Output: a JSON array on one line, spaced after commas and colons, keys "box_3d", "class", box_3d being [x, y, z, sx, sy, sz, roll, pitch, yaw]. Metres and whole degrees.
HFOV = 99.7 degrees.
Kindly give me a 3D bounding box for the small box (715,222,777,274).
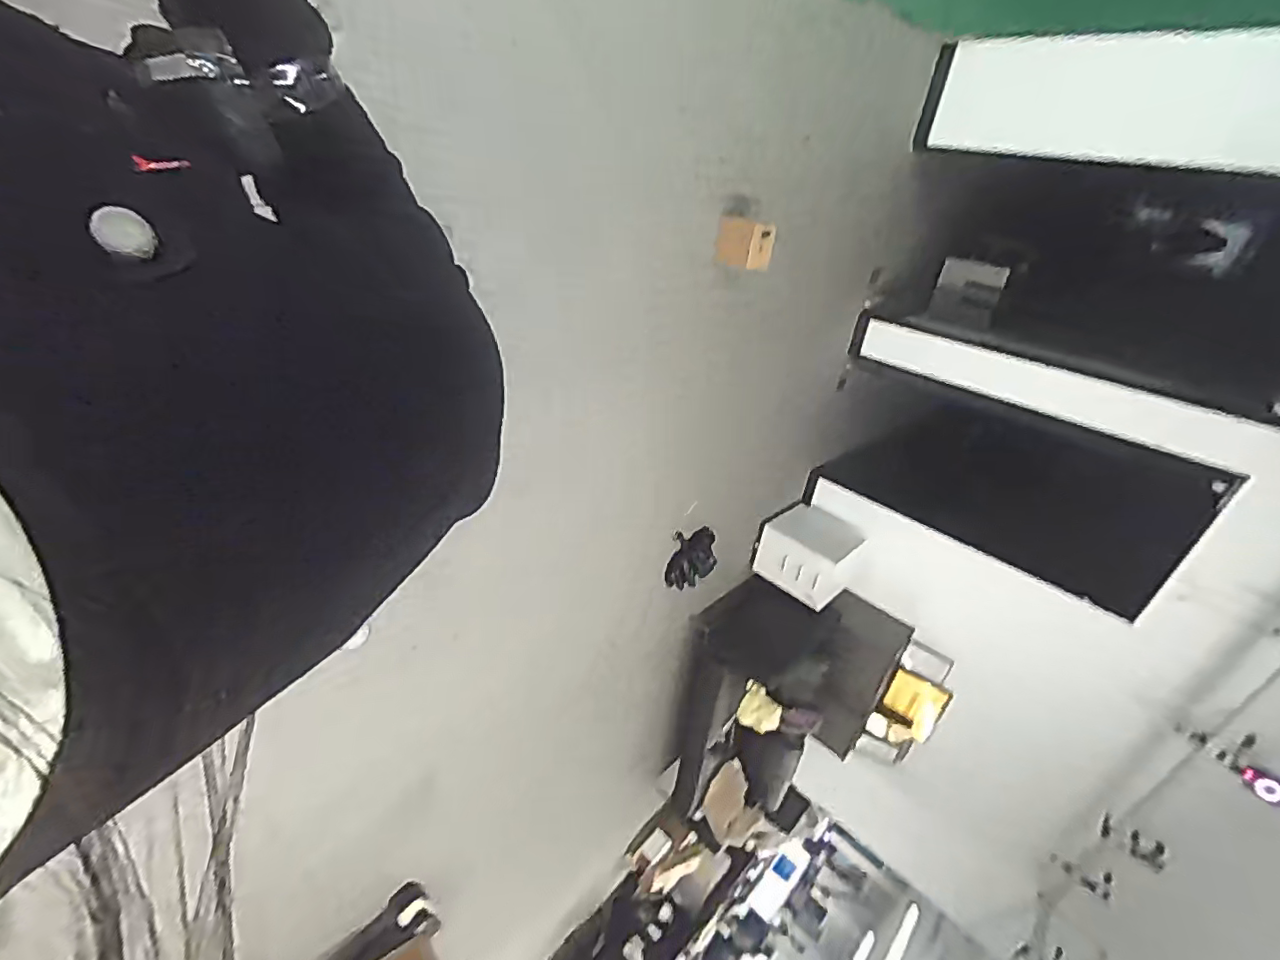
[{"box_3d": [0.429, -0.951, 2.214, 0.168, 0.176, 0.179, -20, 130, -42], "class": "small box"}]
